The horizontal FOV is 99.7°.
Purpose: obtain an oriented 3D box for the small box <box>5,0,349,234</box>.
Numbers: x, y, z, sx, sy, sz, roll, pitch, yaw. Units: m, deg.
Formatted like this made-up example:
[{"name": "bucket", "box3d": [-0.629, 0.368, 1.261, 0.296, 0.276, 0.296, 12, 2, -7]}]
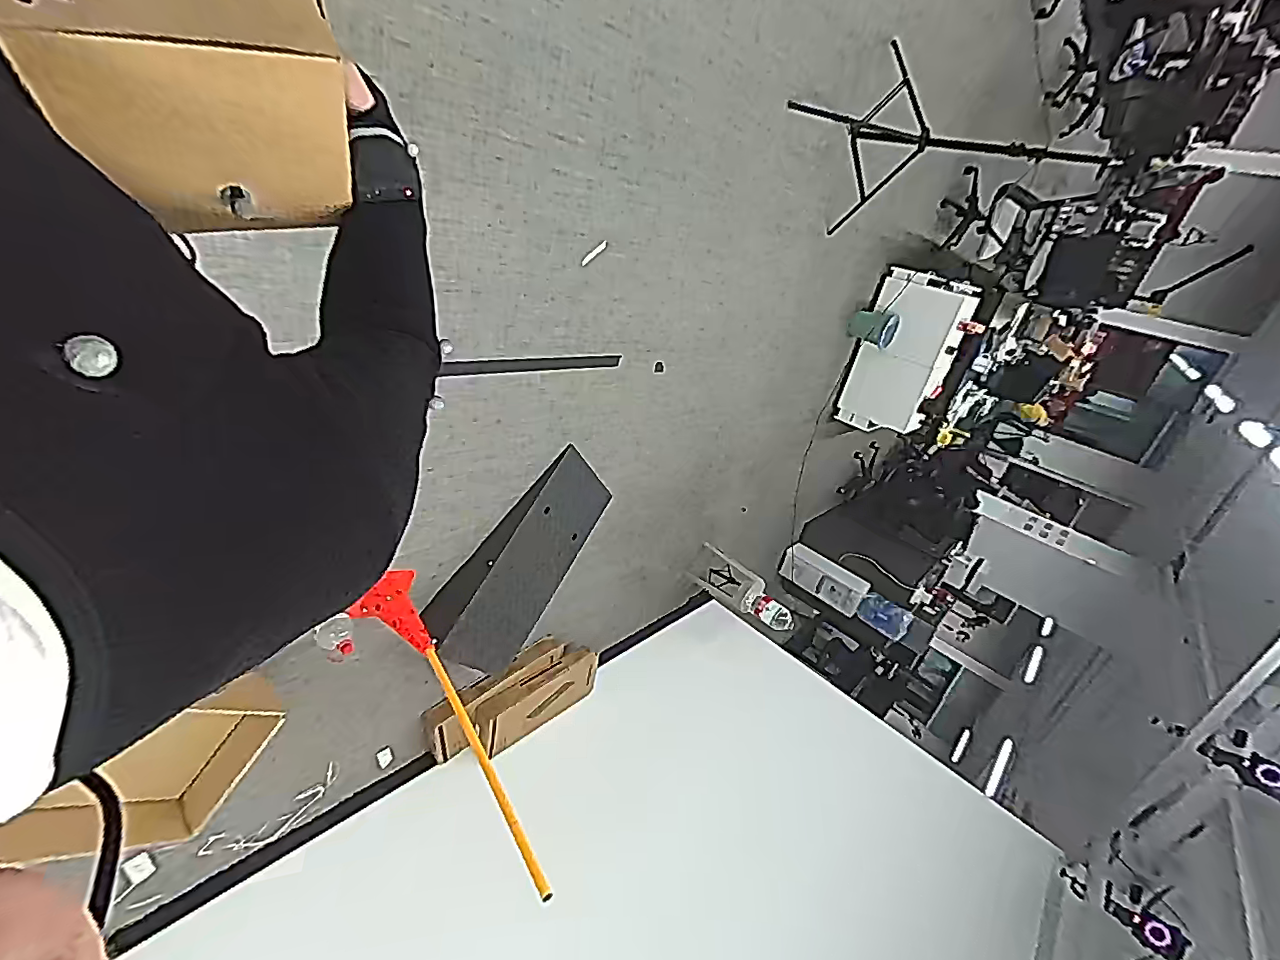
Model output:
[{"name": "small box", "box3d": [-0.348, -0.322, 0.429, 0.179, 0.168, 0.176, -19, 171, -29]}]
